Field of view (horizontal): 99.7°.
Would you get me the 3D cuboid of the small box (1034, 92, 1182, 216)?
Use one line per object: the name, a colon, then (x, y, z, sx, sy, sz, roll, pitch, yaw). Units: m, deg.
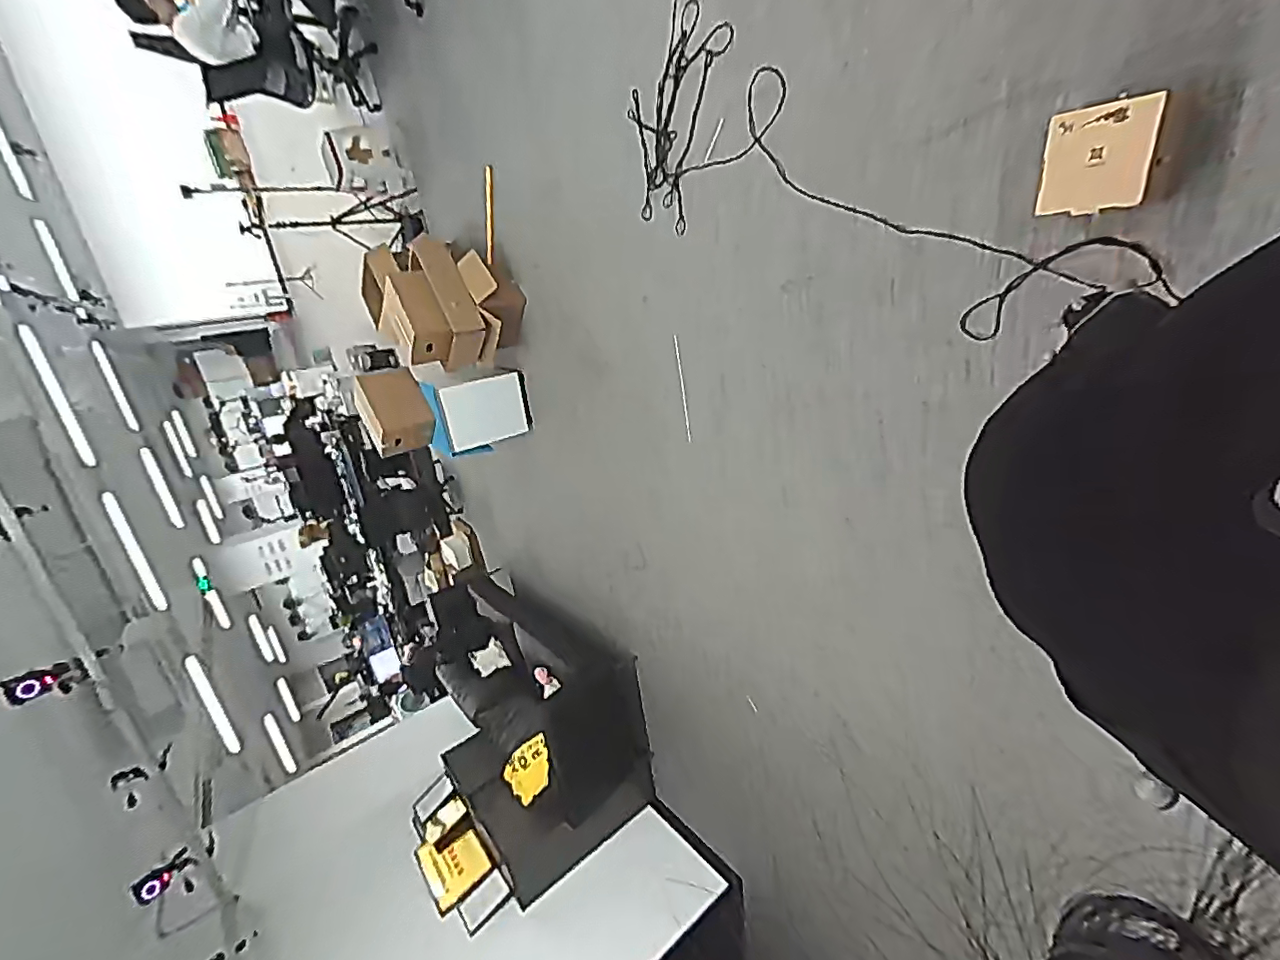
small box: (0.894, -0.618, 1.037, 0.168, 0.176, 0.179, 21, 126, 48)
